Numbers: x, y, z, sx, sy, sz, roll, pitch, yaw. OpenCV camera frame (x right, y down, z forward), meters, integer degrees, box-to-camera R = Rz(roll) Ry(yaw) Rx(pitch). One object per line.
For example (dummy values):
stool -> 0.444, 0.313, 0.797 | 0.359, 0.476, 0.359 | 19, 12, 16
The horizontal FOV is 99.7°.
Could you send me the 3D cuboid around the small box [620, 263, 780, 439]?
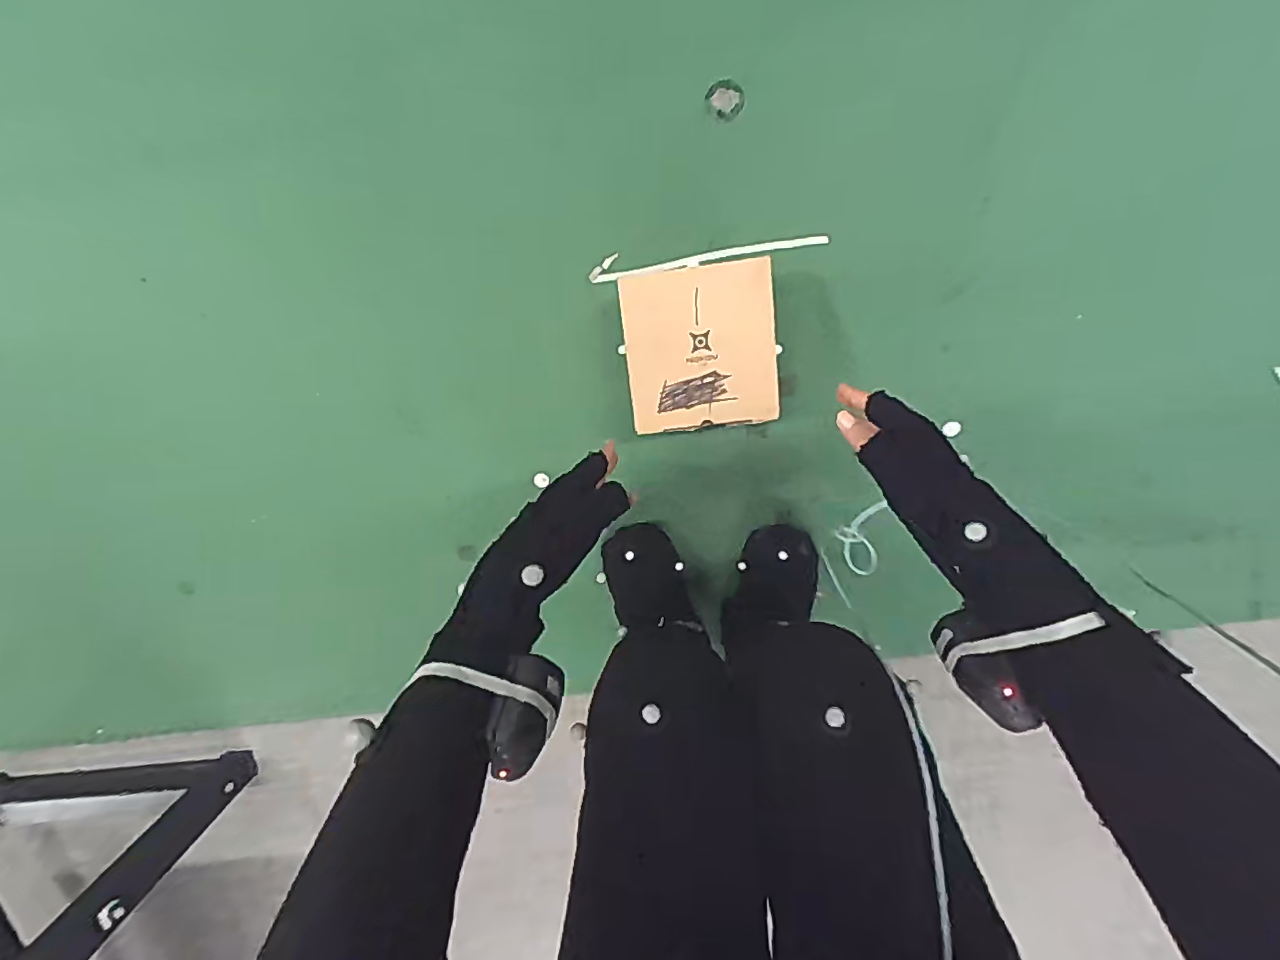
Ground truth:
small box -> 0.074, -0.159, 0.671 | 0.168, 0.176, 0.179 | -6, 105, 5
